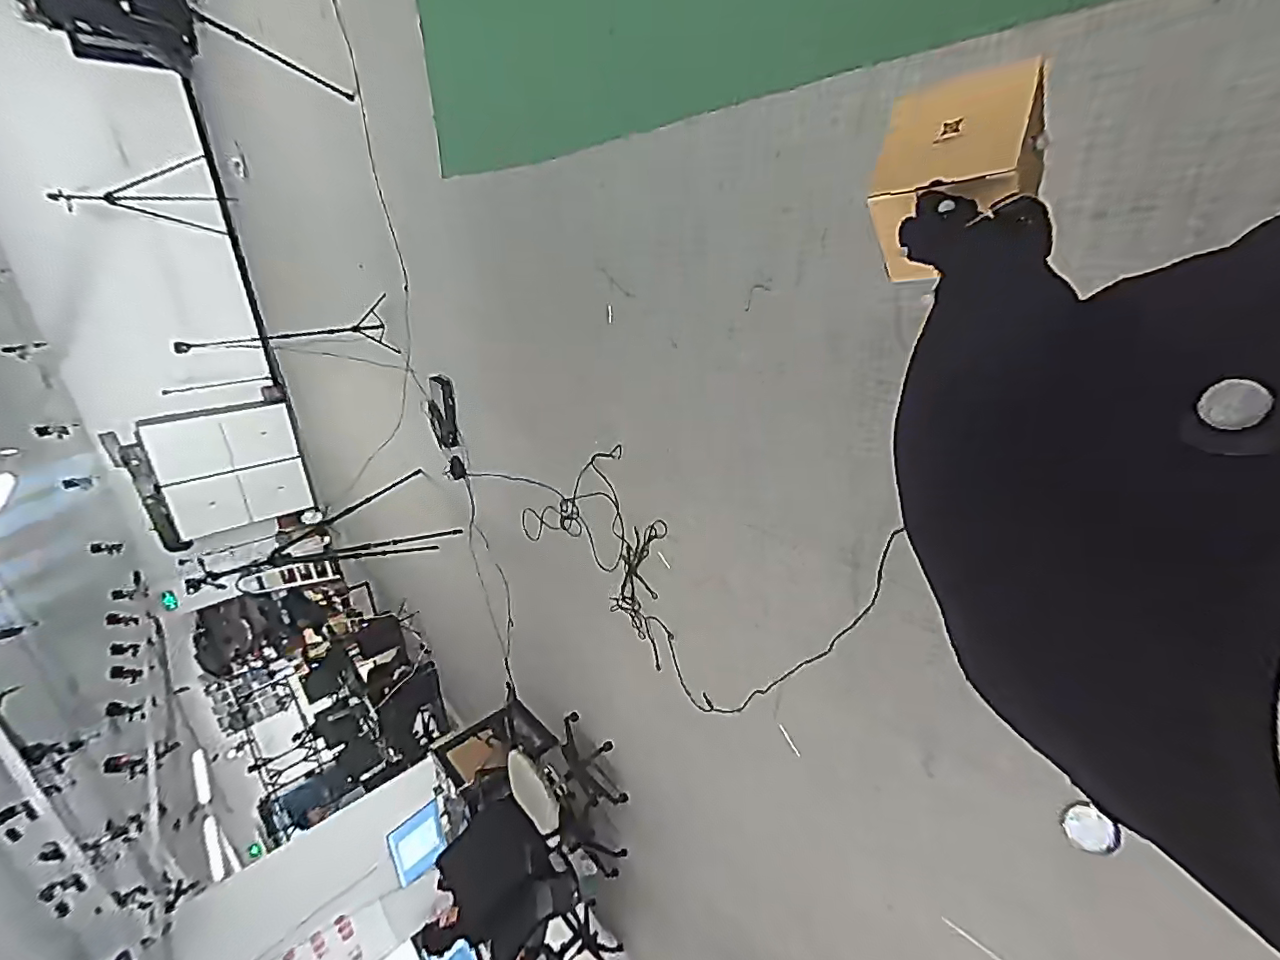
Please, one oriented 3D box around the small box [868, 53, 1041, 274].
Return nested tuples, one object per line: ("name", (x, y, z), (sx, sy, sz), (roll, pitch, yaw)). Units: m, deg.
("small box", (0.431, -0.413, 0.737), (0.168, 0.176, 0.179), (9, 75, 38))
